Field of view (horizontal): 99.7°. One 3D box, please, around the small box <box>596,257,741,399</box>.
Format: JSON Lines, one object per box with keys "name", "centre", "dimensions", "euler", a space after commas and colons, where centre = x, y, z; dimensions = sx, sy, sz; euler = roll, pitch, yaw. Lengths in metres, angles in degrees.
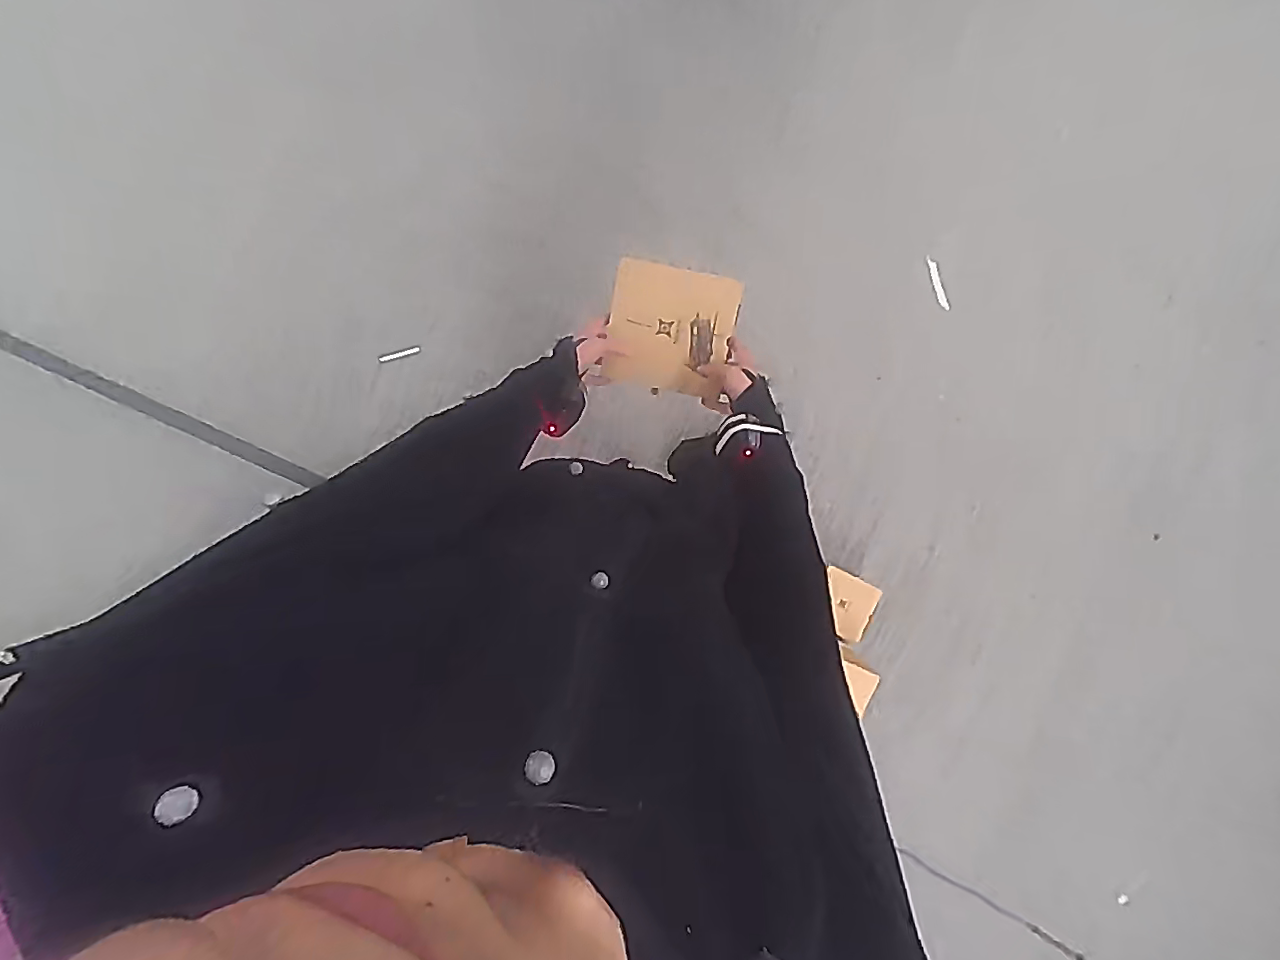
{"name": "small box", "centre": [0.044, -0.226, 0.820], "dimensions": [0.179, 0.176, 0.168], "euler": [11, 104, 3]}
